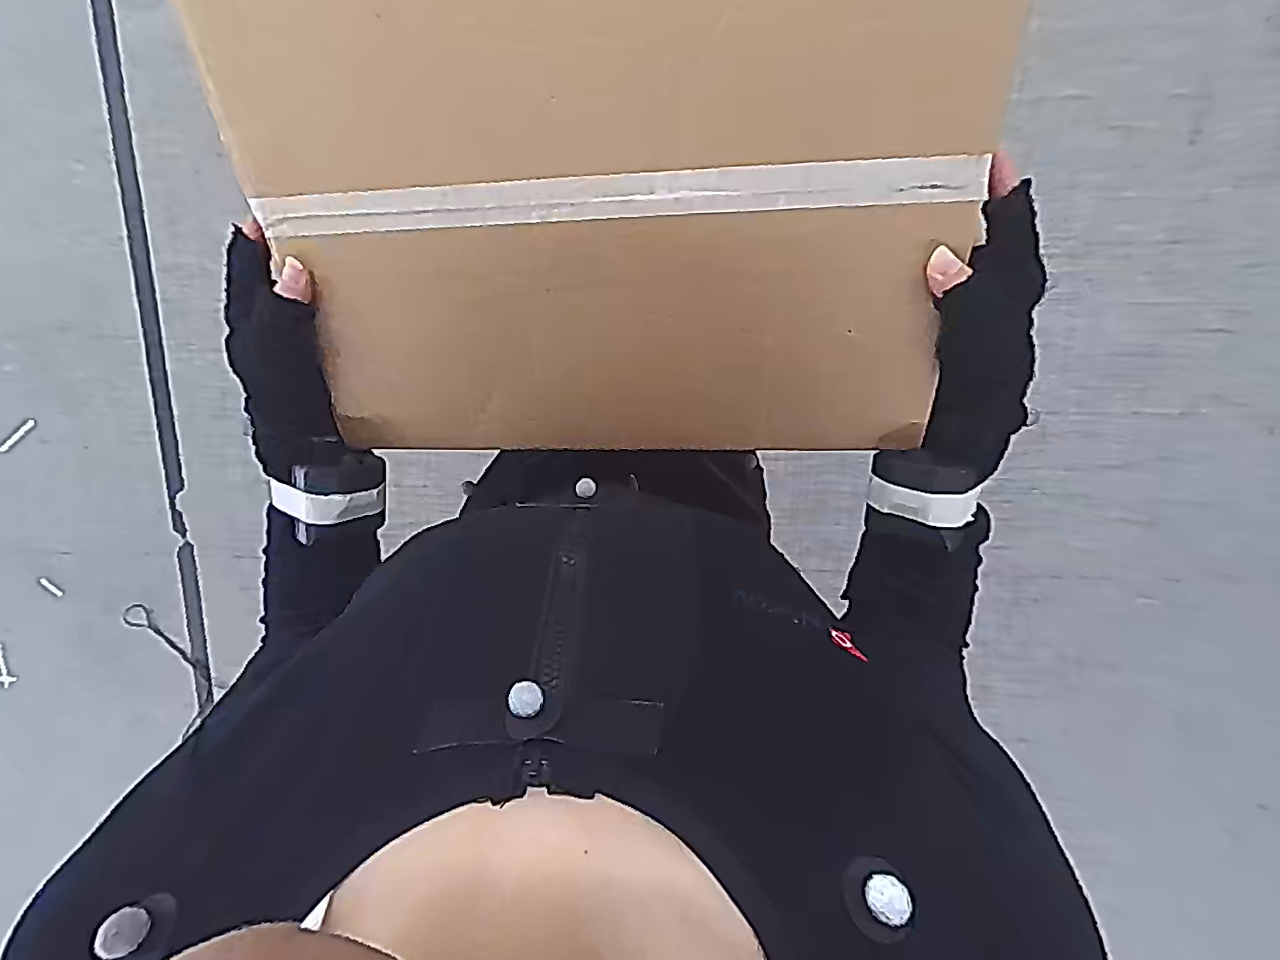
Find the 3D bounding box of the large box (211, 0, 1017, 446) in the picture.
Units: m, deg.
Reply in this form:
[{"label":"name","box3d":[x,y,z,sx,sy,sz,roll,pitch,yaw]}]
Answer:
[{"label":"large box","box3d":[-0.006,-0.235,0.437,0.408,0.320,0.320,0,123,6]}]
